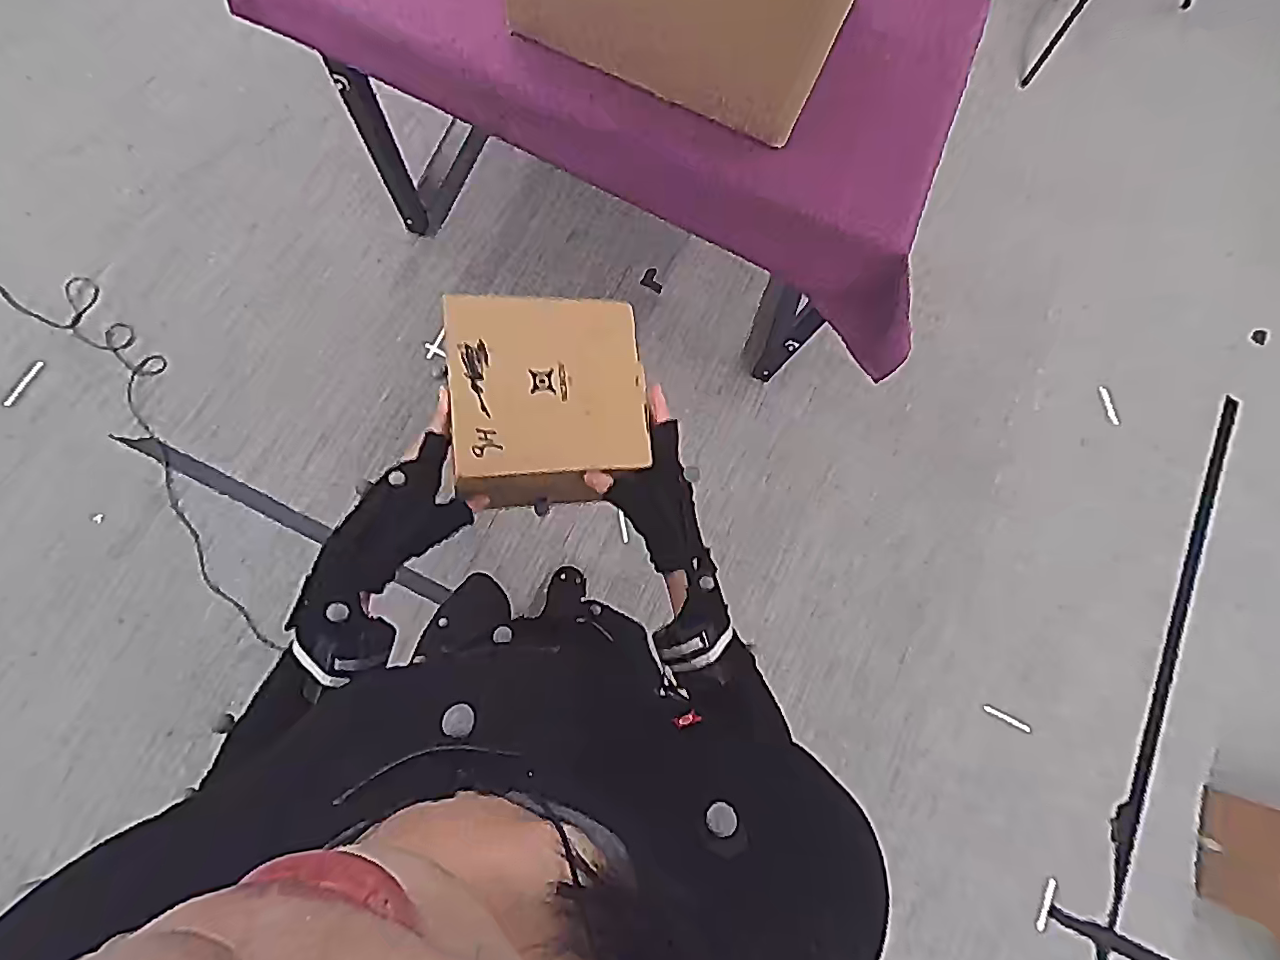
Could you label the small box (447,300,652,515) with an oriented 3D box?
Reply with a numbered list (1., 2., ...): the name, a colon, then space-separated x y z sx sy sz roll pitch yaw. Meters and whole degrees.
1. small box: -0.105 -0.062 0.562 0.179 0.176 0.168 -2 75 -20
